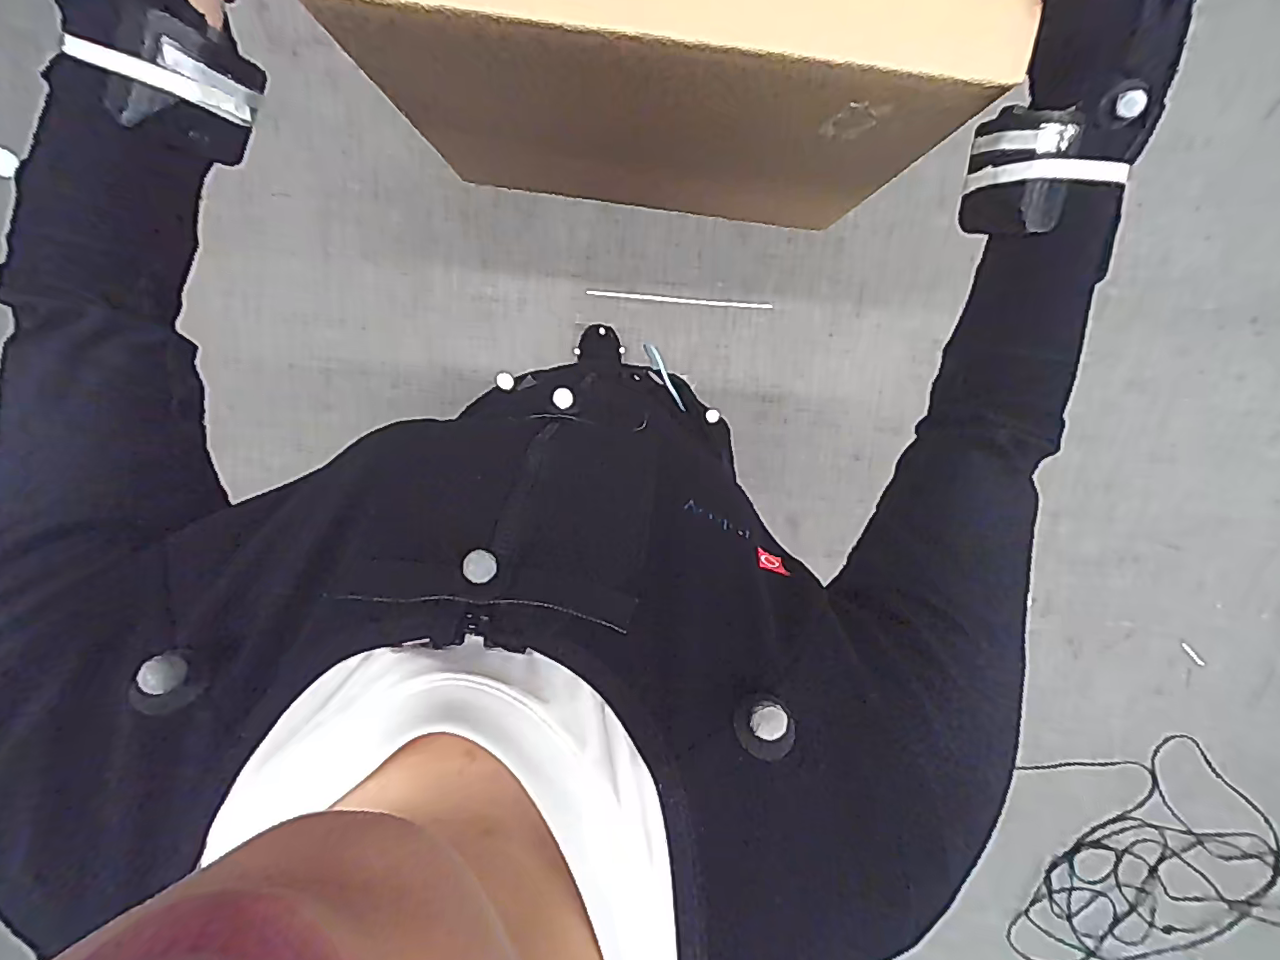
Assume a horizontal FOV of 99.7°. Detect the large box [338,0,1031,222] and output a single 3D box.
[{"bbox_3d":[0.030,-0.425,0.421,0.408,0.320,0.320,6,101,-3],"label":"large box"}]
